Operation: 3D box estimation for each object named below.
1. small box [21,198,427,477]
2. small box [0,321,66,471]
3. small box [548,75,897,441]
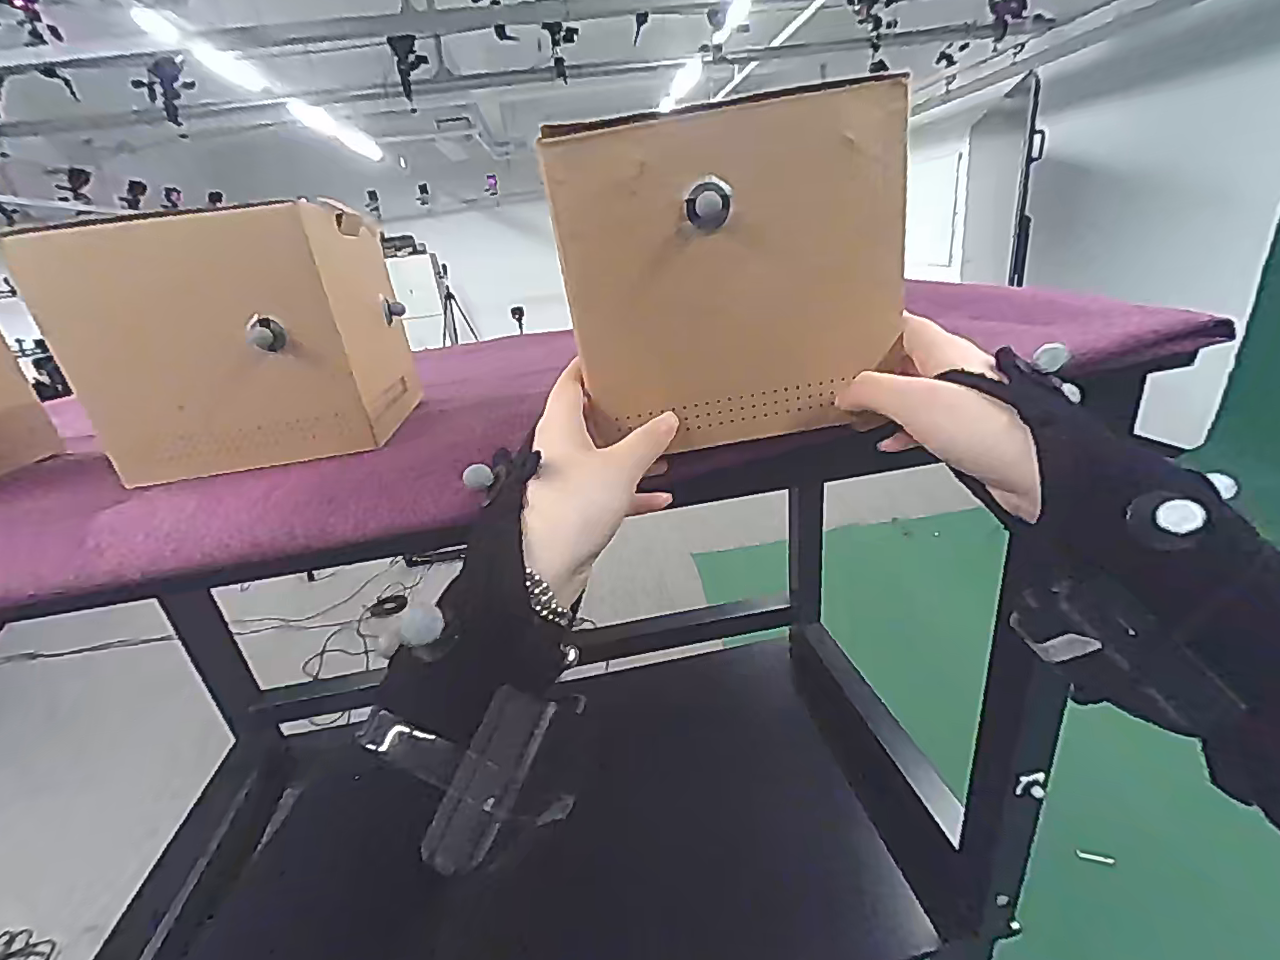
[{"bbox_3d":[-0.291,-0.117,0.436,0.179,0.176,0.168,-10,23,-6],"label":"small box"},{"bbox_3d":[-0.606,-0.066,0.397,0.168,0.176,0.179,-8,23,-7],"label":"small box"},{"bbox_3d":[0.049,-0.133,0.362,0.179,0.176,0.168,-9,23,0],"label":"small box"}]
